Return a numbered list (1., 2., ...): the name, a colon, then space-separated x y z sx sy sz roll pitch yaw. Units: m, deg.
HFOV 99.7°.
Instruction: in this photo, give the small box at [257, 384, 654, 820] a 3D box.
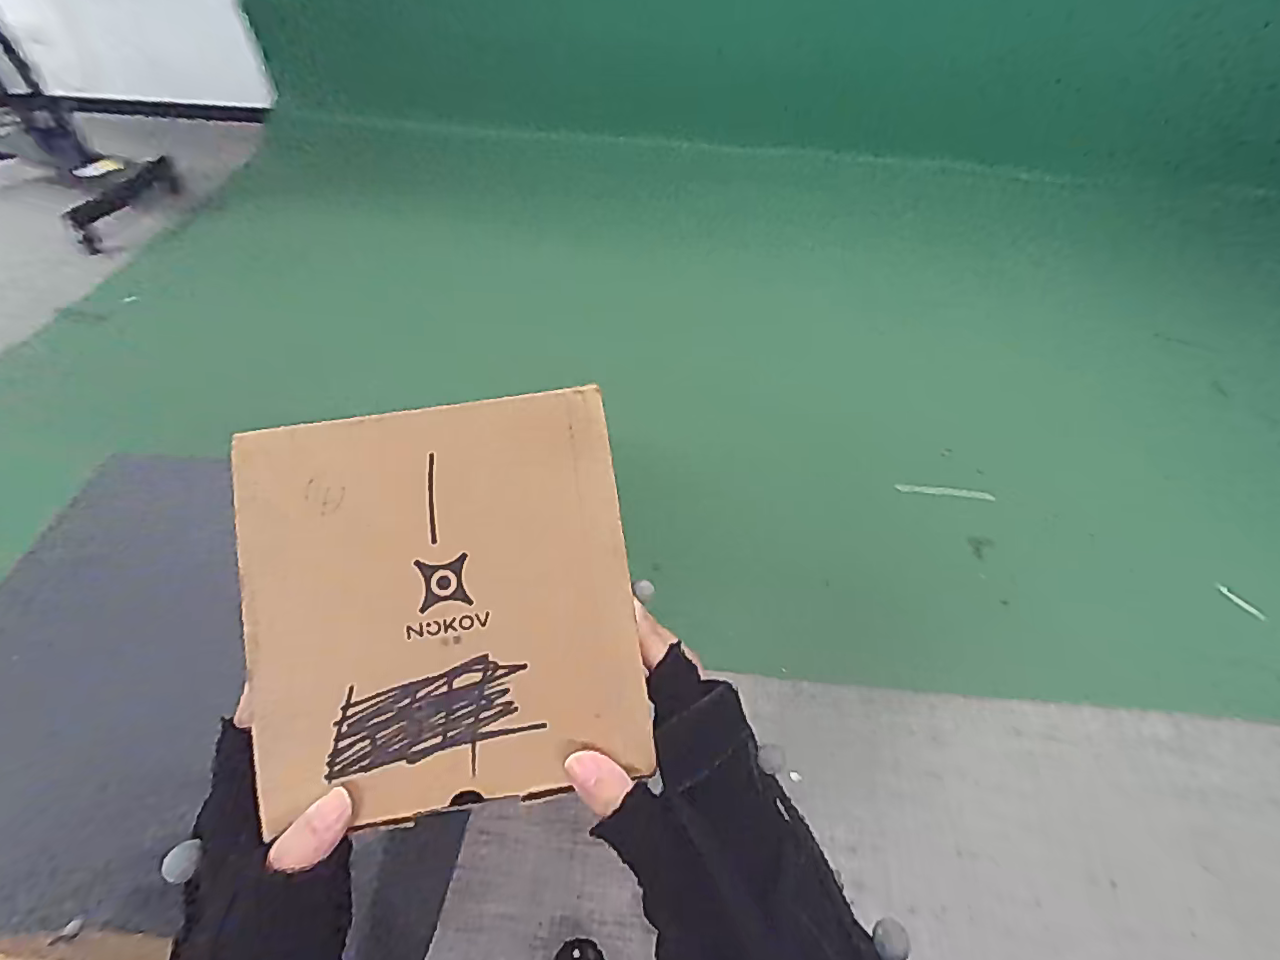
1. small box: -0.086 0.059 0.321 0.168 0.176 0.179 -8 83 -3
